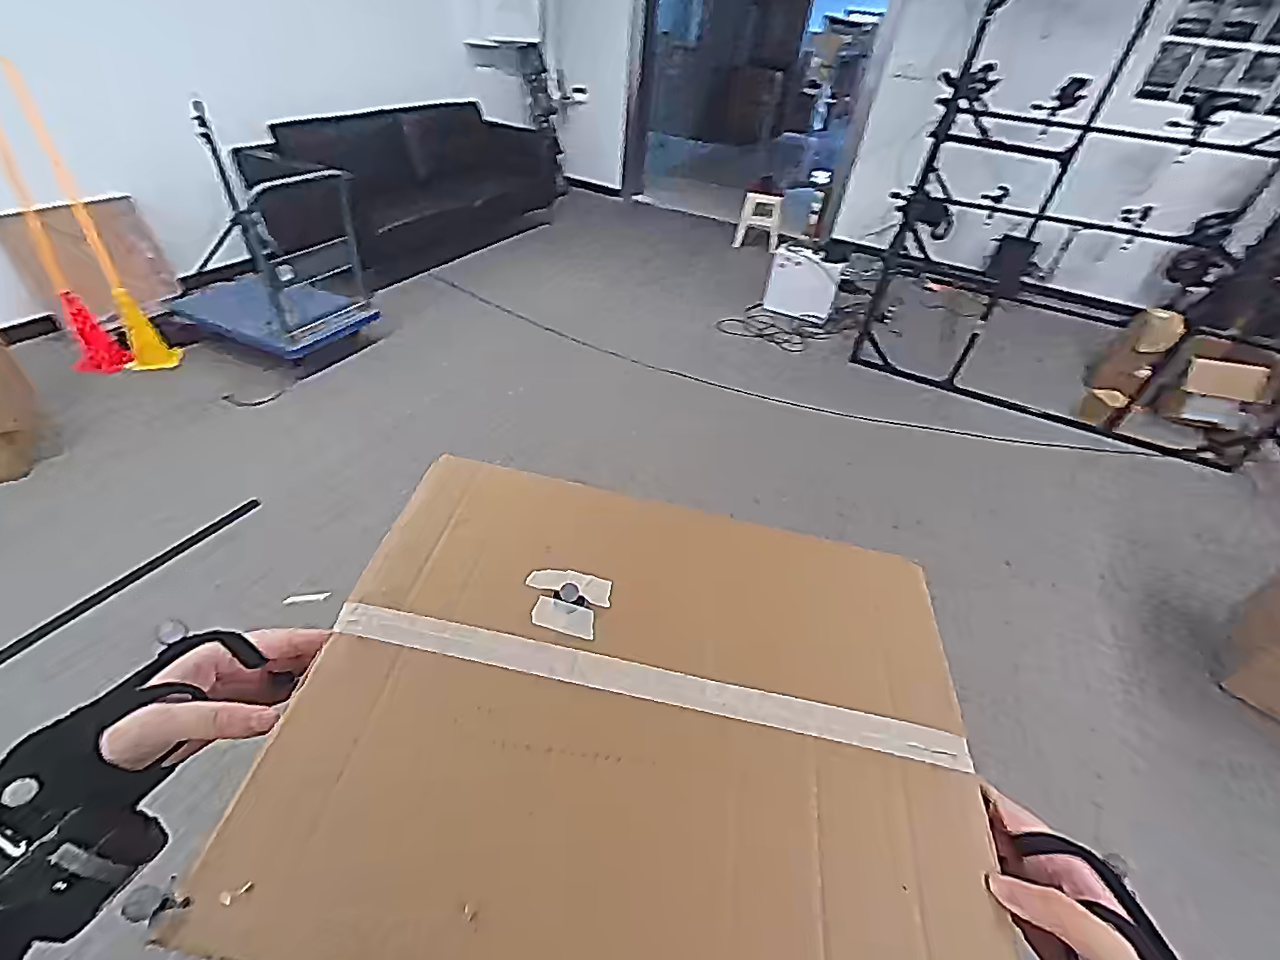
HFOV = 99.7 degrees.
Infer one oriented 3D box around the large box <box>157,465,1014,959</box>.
[{"bbox_3d":[-0.011,0.232,0.442,0.408,0.320,0.320,12,46,1],"label":"large box"}]
